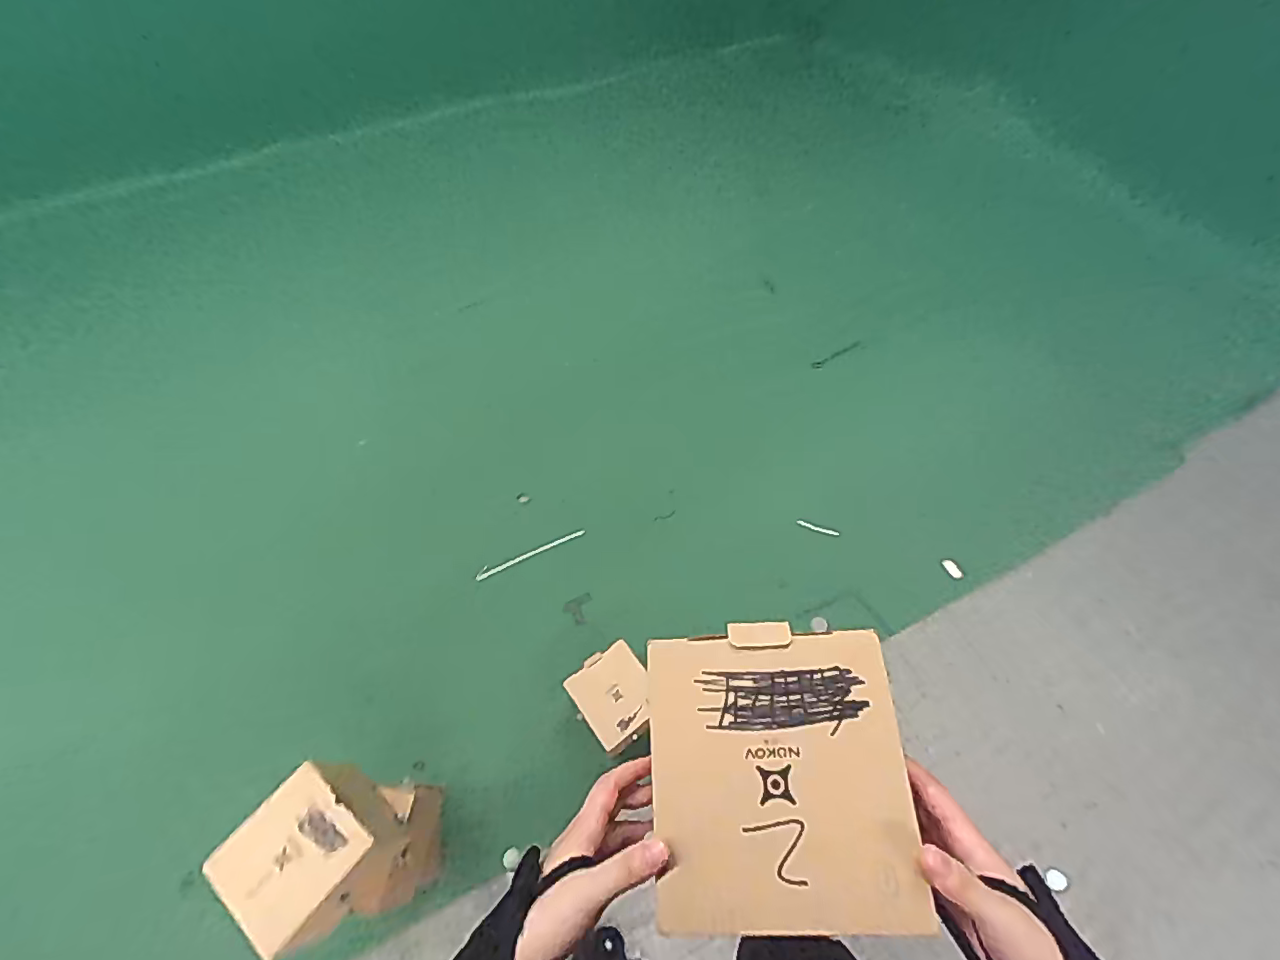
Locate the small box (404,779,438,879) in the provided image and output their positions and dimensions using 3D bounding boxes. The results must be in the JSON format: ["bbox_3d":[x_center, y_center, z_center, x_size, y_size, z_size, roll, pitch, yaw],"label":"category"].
[{"bbox_3d":[-0.520,0.725,1.107,0.168,0.176,0.179,-8,60,-7],"label":"small box"}]

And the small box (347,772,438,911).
[{"bbox_3d":[-0.487,0.636,0.971,0.168,0.176,0.179,10,59,3],"label":"small box"}]

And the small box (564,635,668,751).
[{"bbox_3d":[-0.055,0.495,1.245,0.168,0.176,0.179,-32,64,-18],"label":"small box"}]

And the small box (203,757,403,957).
[{"bbox_3d":[-0.493,0.556,0.827,0.168,0.176,0.179,37,67,18],"label":"small box"}]
